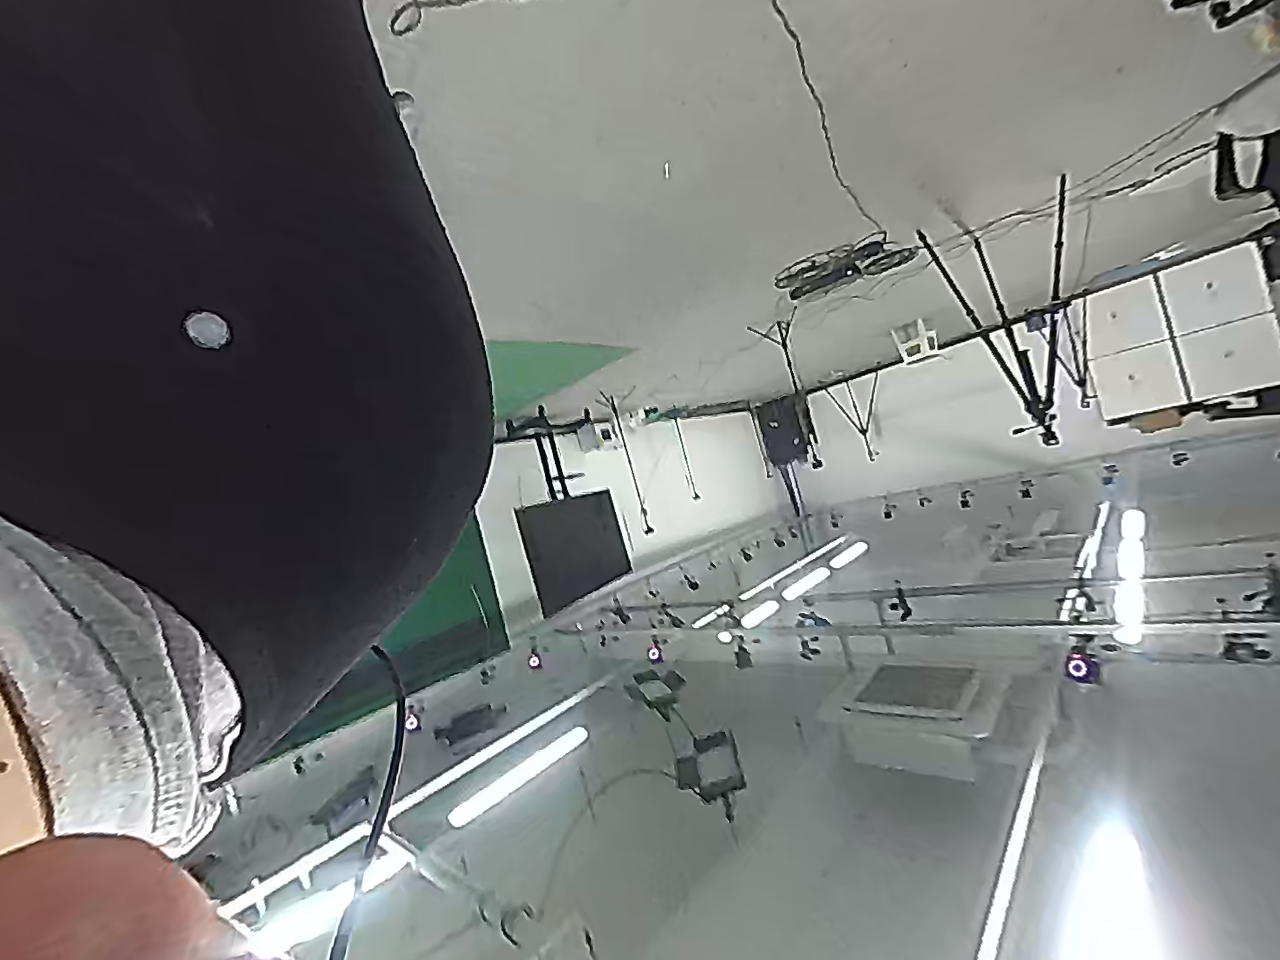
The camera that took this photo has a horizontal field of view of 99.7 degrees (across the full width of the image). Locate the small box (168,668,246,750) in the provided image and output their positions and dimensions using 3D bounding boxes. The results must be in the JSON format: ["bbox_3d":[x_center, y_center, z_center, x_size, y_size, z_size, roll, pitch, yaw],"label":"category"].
[{"bbox_3d":[-1.345,0.704,1.685,0.168,0.176,0.179,-11,178,-37],"label":"small box"}]
